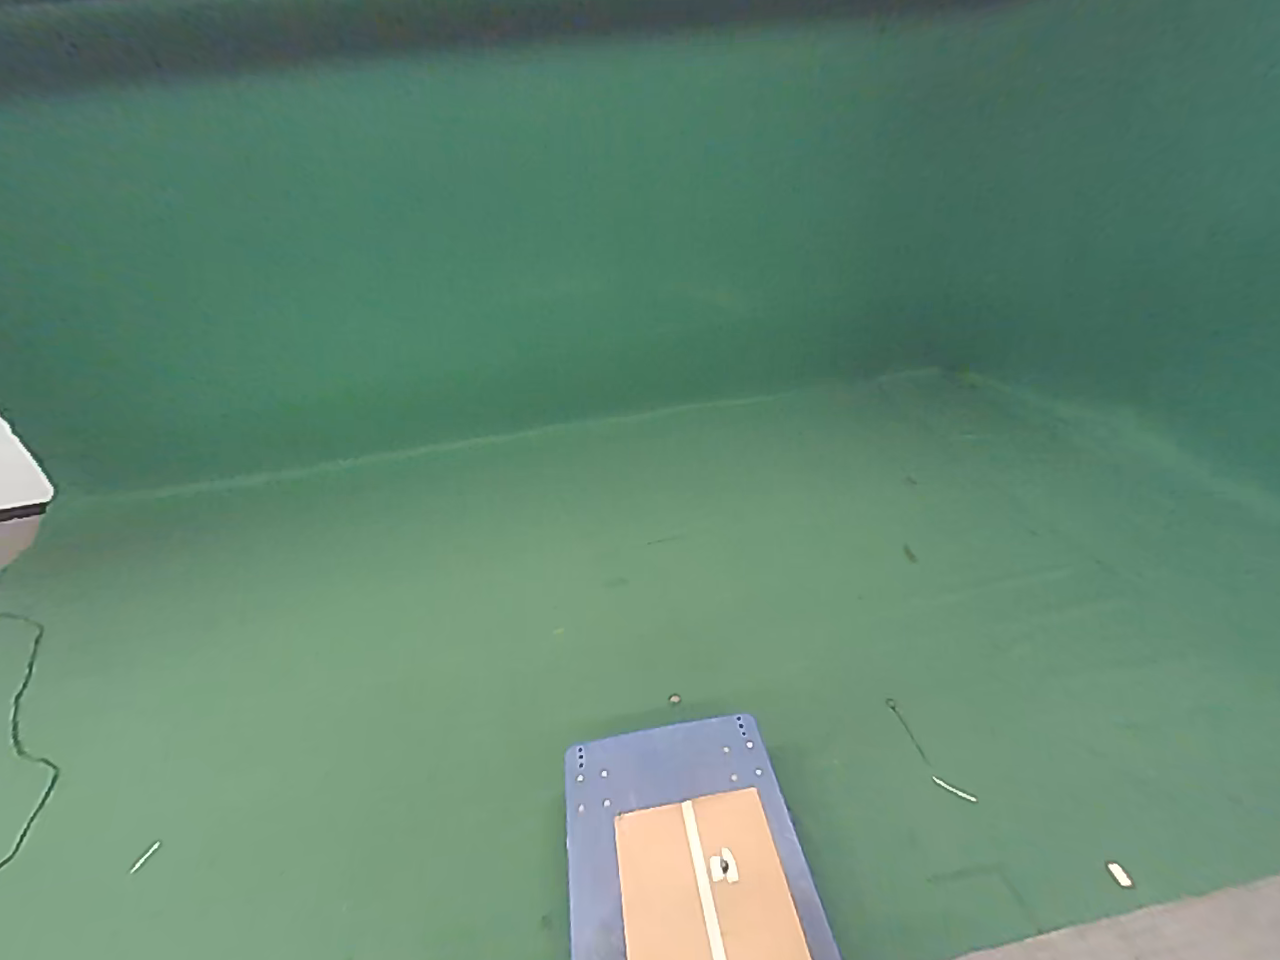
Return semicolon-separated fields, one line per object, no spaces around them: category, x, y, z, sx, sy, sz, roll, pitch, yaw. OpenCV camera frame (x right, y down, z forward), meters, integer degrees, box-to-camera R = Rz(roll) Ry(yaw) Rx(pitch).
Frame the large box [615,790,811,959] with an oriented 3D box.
large box;0.143;0.922;1.072;0.320;0.320;0.408;-9;32;-4
